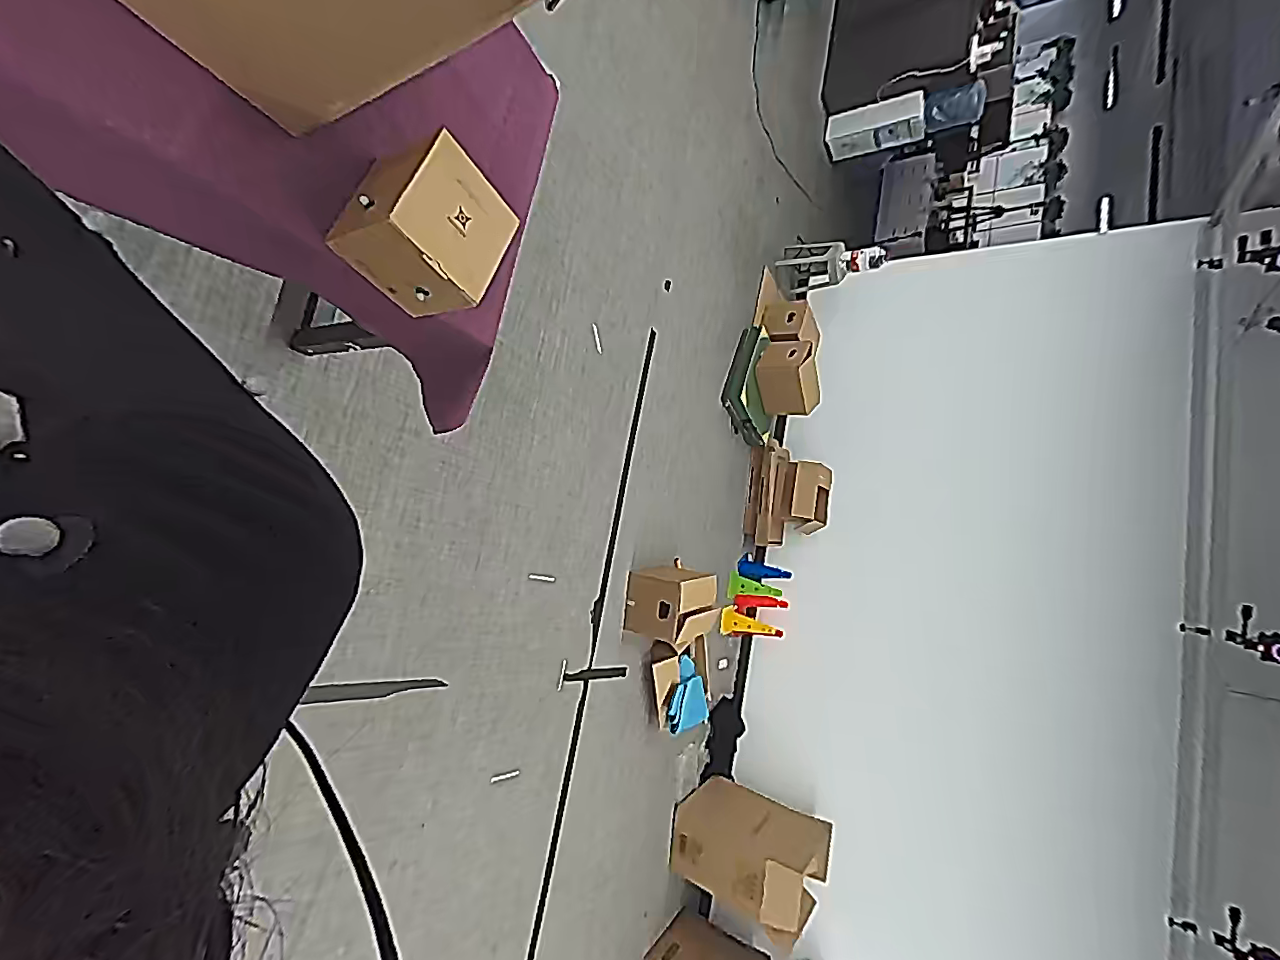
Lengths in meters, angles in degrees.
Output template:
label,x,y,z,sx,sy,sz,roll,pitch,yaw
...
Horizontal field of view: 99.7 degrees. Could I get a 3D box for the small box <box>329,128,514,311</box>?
label,x,y,z,sx,sy,sz,roll,pitch,yaw
small box,-0.330,-0.378,0.818,0.168,0.176,0.179,44,57,-51
